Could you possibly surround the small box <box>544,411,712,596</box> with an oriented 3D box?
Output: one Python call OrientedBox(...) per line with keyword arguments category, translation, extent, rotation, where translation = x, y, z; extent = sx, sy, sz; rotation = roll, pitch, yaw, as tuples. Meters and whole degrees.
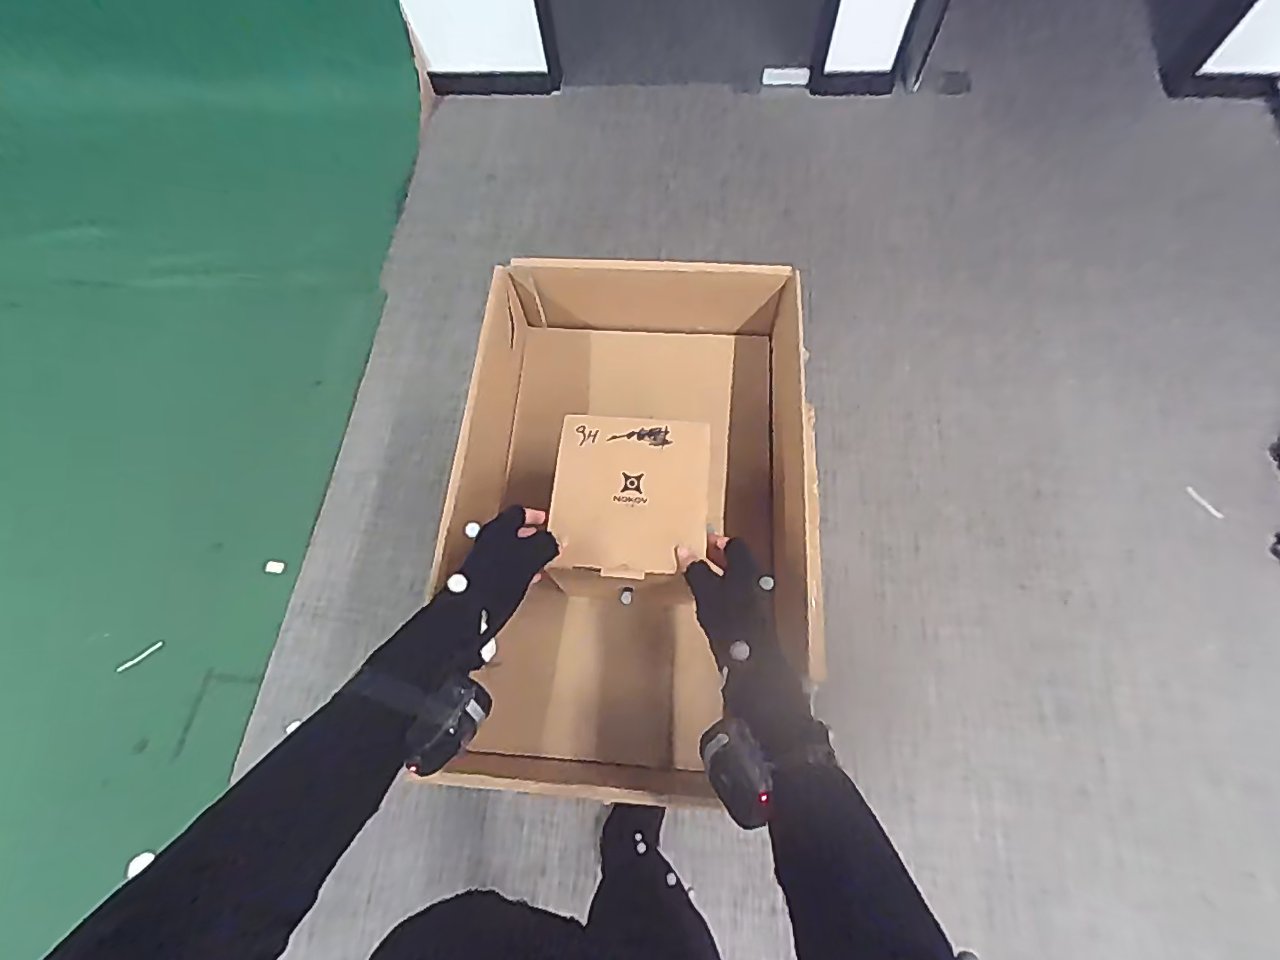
OrientedBox(category="small box", translation=(-0.008, 0.037, 0.646), extent=(0.168, 0.176, 0.179), rotation=(5, 70, 2))
